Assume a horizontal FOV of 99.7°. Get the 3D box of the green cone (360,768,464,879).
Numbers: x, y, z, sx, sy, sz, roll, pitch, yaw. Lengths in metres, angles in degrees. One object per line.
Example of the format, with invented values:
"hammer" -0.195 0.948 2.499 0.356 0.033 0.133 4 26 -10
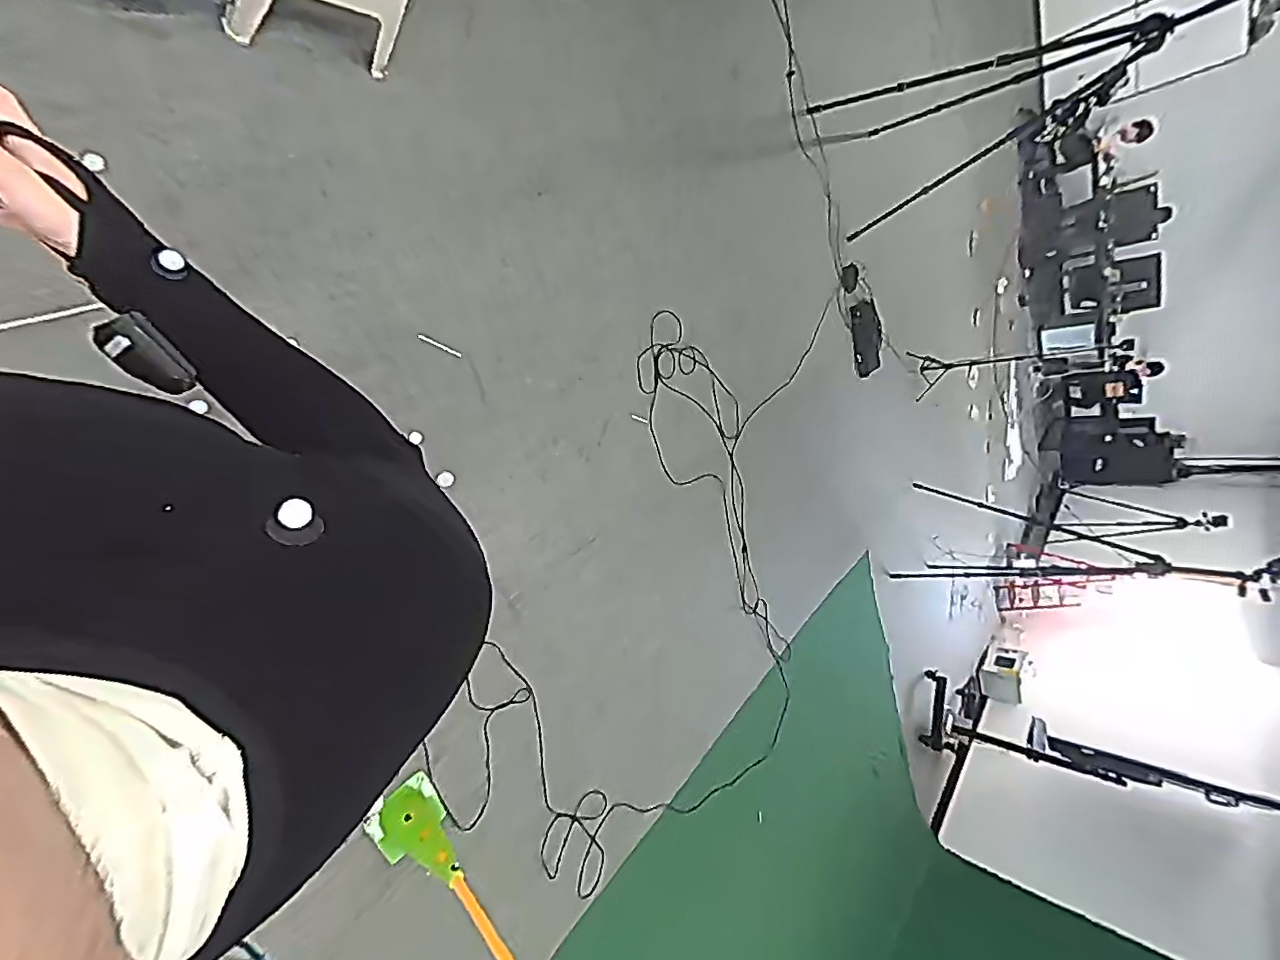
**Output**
"green cone" -0.611 1.033 1.549 0.202 0.368 0.200 -36 116 -38
